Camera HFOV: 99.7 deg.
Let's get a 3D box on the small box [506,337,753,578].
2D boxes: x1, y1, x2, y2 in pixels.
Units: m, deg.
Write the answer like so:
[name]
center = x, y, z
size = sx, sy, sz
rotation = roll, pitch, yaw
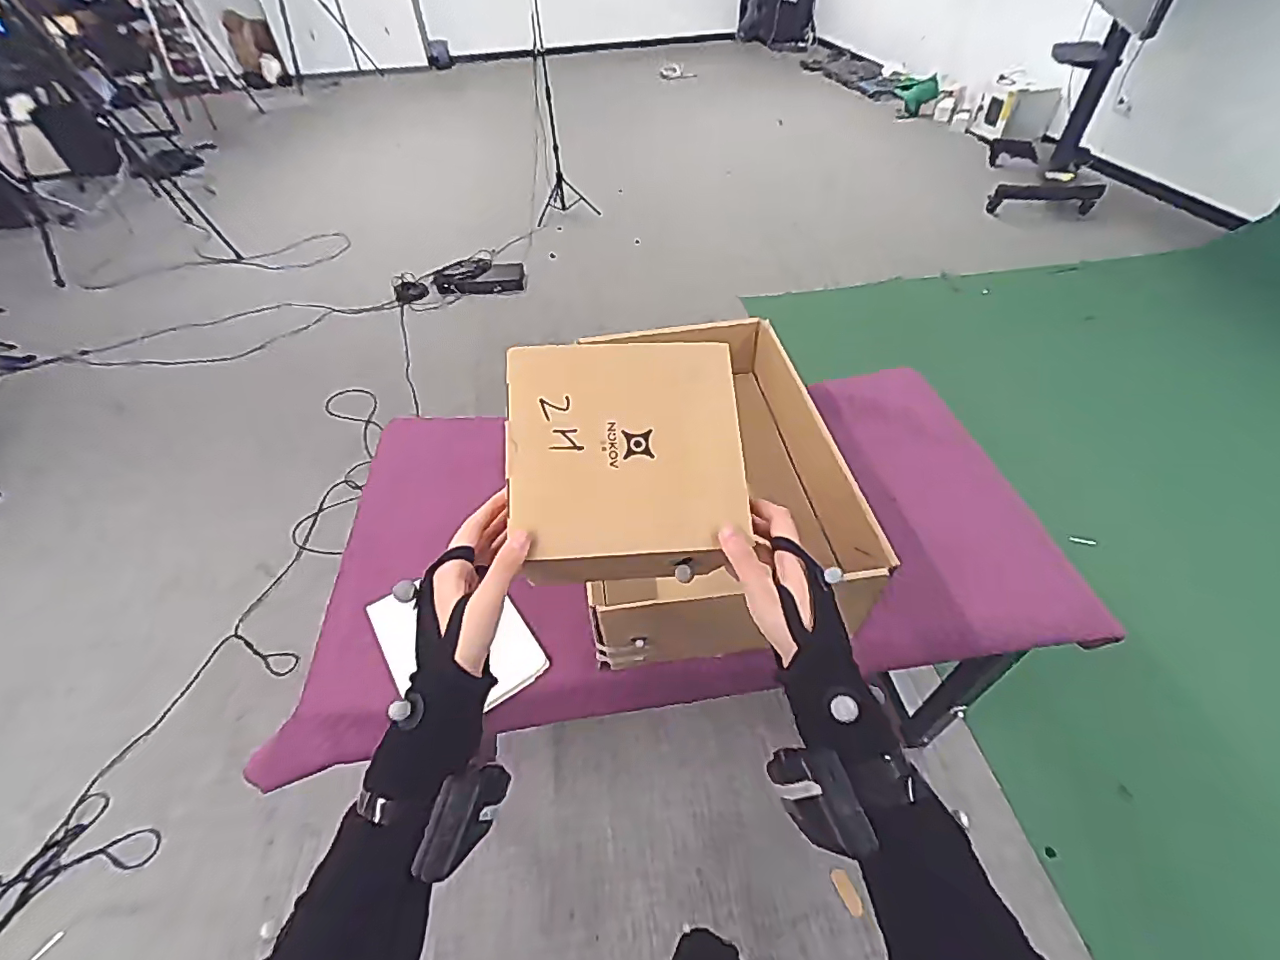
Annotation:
[small box]
center = -0.017, -0.009, 0.473
size = 0.179, 0.176, 0.168
rotation = -2, 73, -5
